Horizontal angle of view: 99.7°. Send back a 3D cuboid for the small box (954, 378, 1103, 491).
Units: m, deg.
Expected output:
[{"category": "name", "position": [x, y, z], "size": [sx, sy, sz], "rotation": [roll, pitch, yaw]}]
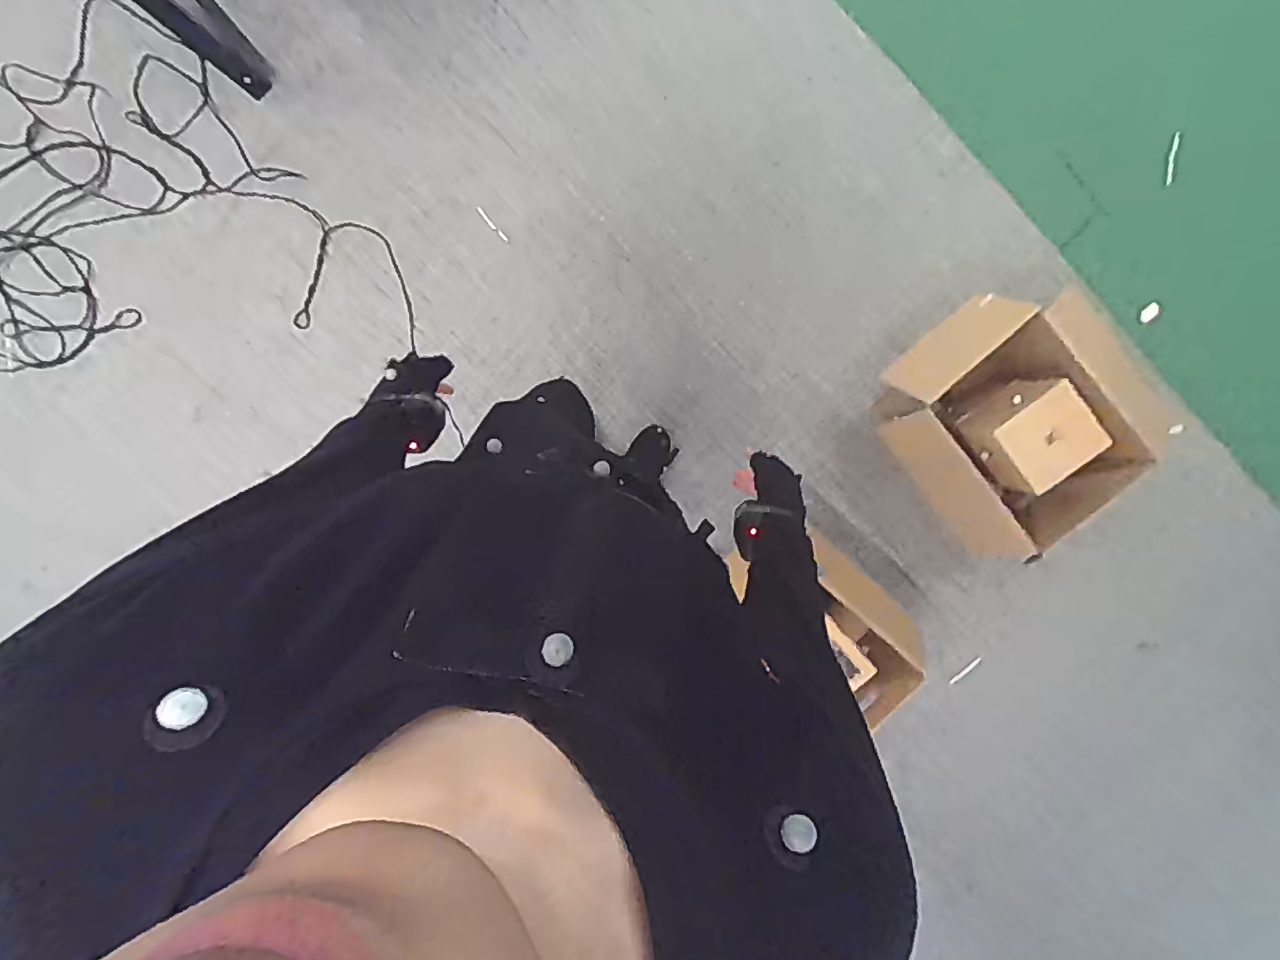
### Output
[{"category": "small box", "position": [0.823, -0.098, 1.174], "size": [0.179, 0.176, 0.168], "rotation": [-39, 93, 5]}]
